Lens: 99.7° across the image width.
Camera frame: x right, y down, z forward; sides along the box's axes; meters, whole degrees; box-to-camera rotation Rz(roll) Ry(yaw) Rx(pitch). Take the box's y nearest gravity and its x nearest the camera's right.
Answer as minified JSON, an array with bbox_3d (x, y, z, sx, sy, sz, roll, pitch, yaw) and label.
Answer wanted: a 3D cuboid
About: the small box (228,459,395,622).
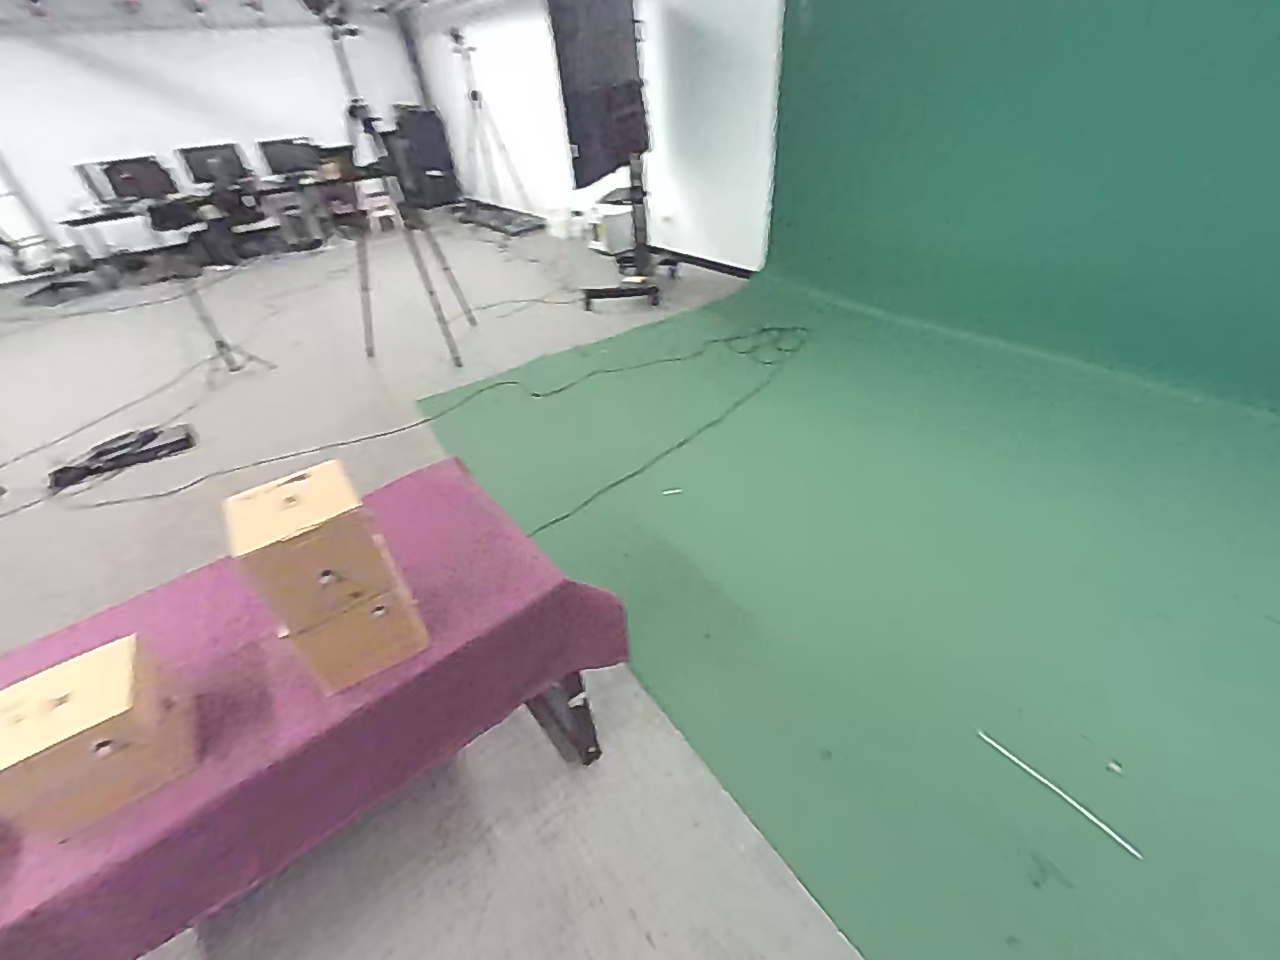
[{"bbox_3d":[-0.518,0.100,0.864,0.168,0.176,0.179,-26,42,-26],"label":"small box"}]

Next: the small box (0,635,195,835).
[{"bbox_3d":[-0.806,0.376,0.809,0.179,0.176,0.168,-27,41,-25],"label":"small box"}]

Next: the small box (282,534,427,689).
[{"bbox_3d":[-0.506,0.233,0.961,0.179,0.176,0.168,-24,40,-23],"label":"small box"}]
